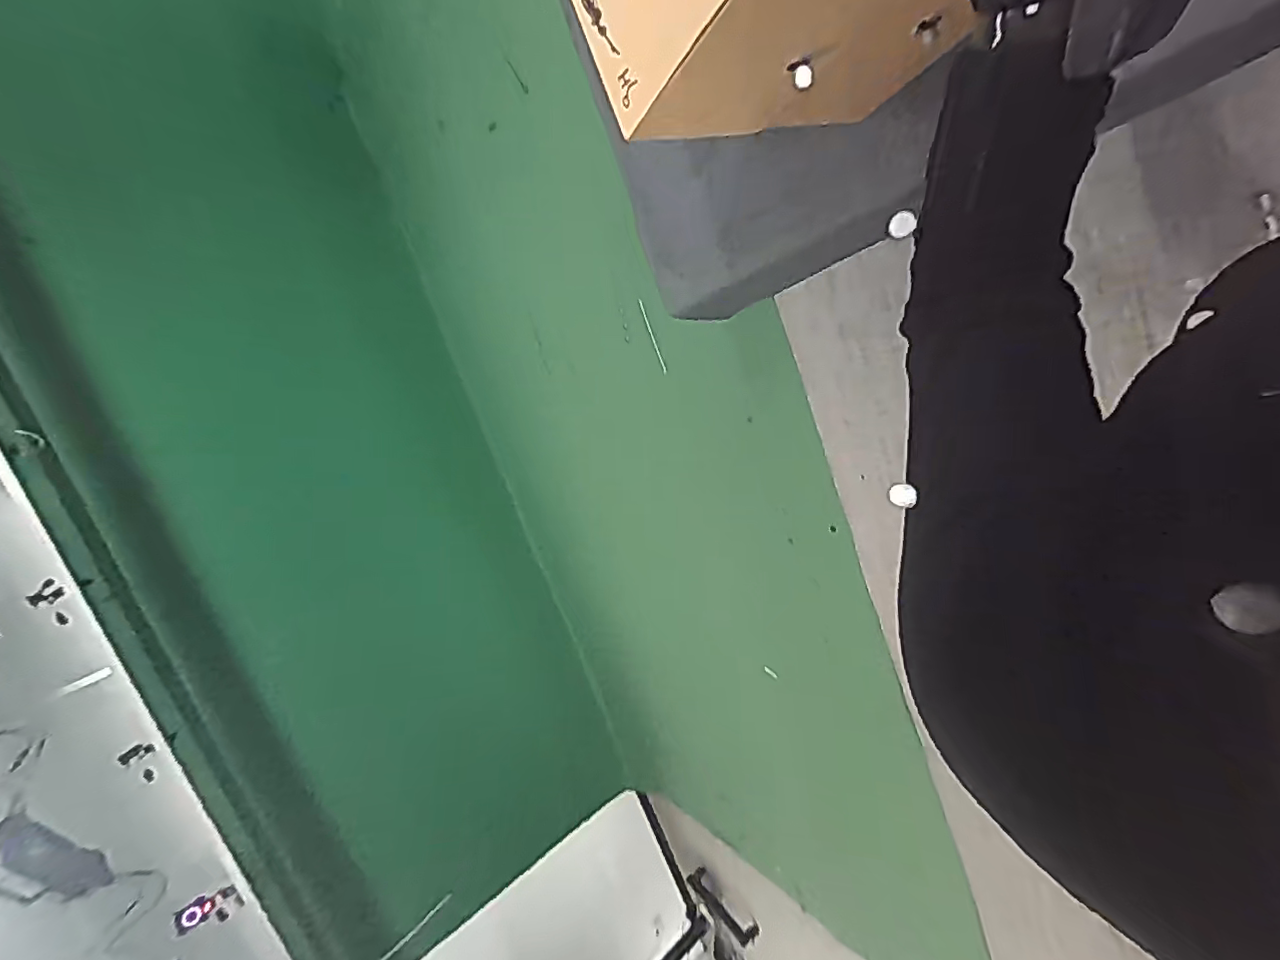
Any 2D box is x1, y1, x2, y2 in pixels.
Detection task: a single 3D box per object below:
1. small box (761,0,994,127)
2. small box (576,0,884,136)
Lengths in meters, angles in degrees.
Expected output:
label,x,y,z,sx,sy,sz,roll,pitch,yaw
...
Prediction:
label,x,y,z,sx,sy,sz,roll,pitch,yaw
small box,0.199,-0.465,0.497,0.179,0.176,0.168,-13,99,60
small box,0.068,-0.404,0.418,0.179,0.176,0.168,-14,99,59
